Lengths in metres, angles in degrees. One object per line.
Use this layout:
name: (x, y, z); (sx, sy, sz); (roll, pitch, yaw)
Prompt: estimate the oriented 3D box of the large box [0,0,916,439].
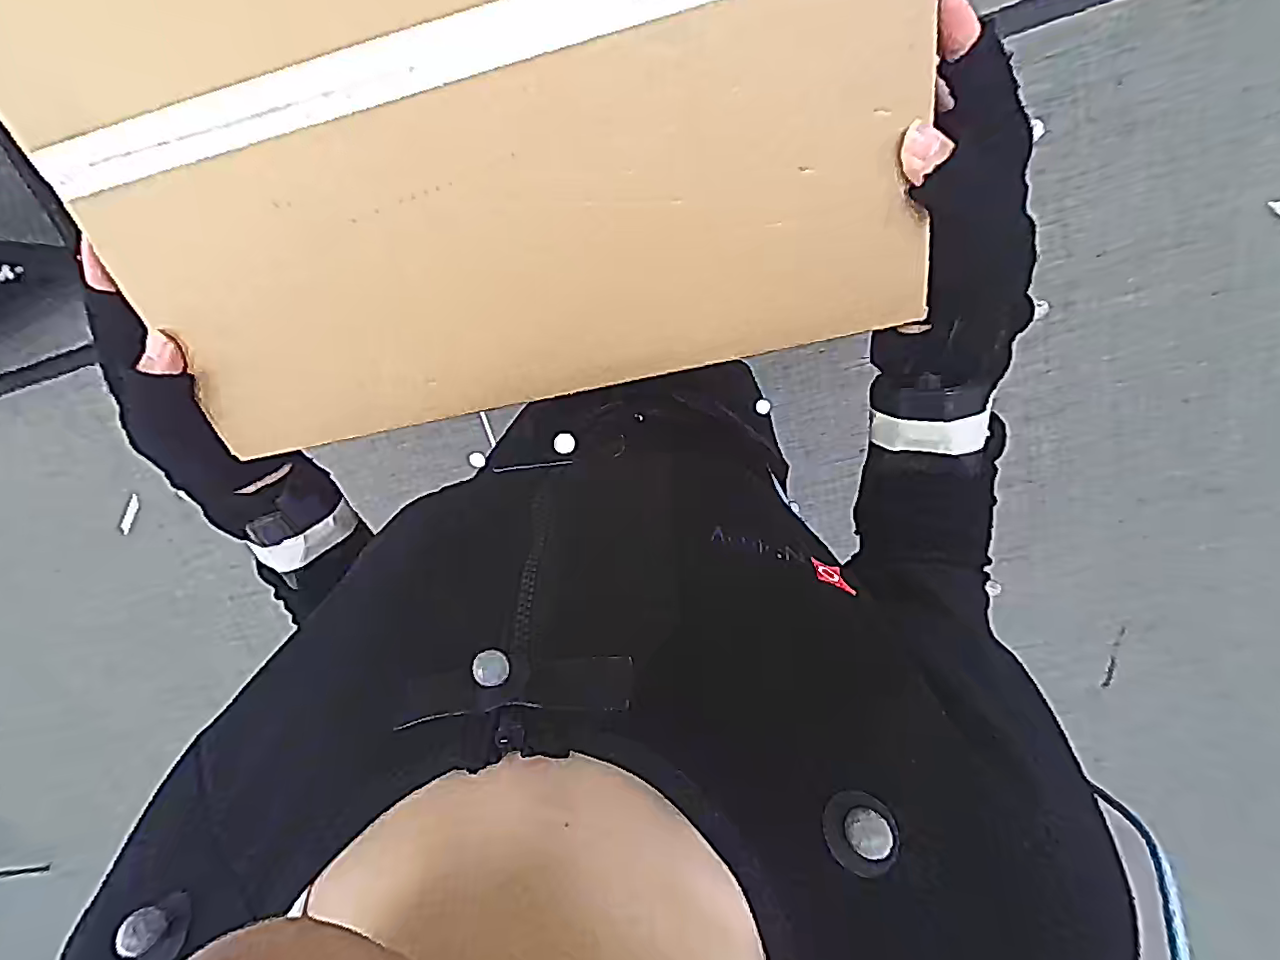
large box: (-0.078, -0.262, 0.374); (0.408, 0.320, 0.320); (-10, 119, 8)
